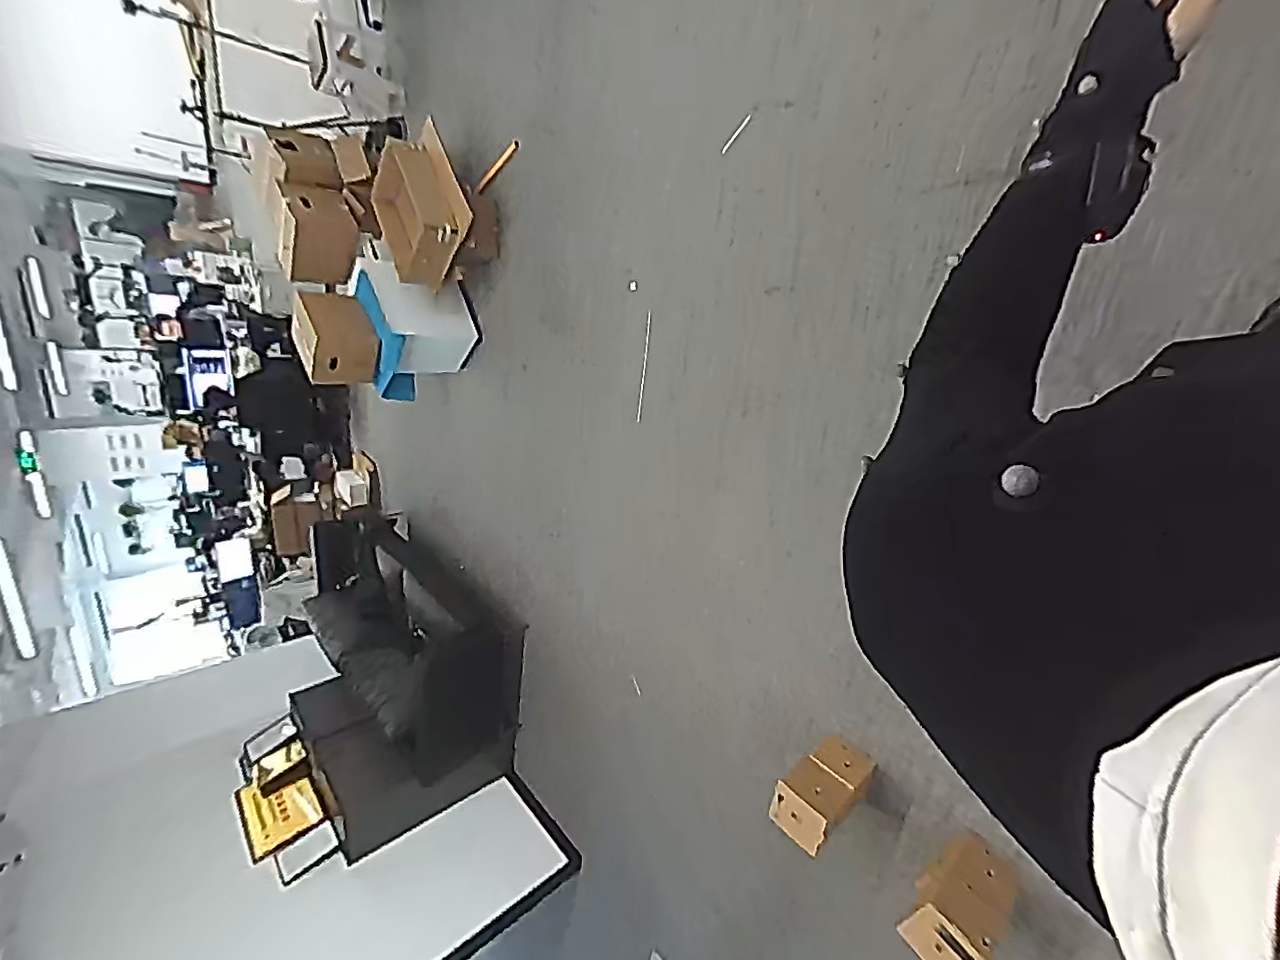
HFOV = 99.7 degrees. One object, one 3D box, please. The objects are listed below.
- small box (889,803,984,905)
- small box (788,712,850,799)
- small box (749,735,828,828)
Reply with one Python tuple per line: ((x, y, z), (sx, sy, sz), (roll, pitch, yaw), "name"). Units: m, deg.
((0.902, 1.122, 1.635), (0.168, 0.176, 0.179), (47, 130, 28), "small box")
((0.614, 0.956, 1.896), (0.168, 0.176, 0.179), (26, 118, 39), "small box")
((0.494, 0.986, 1.788), (0.179, 0.176, 0.168), (28, 119, 38), "small box")
